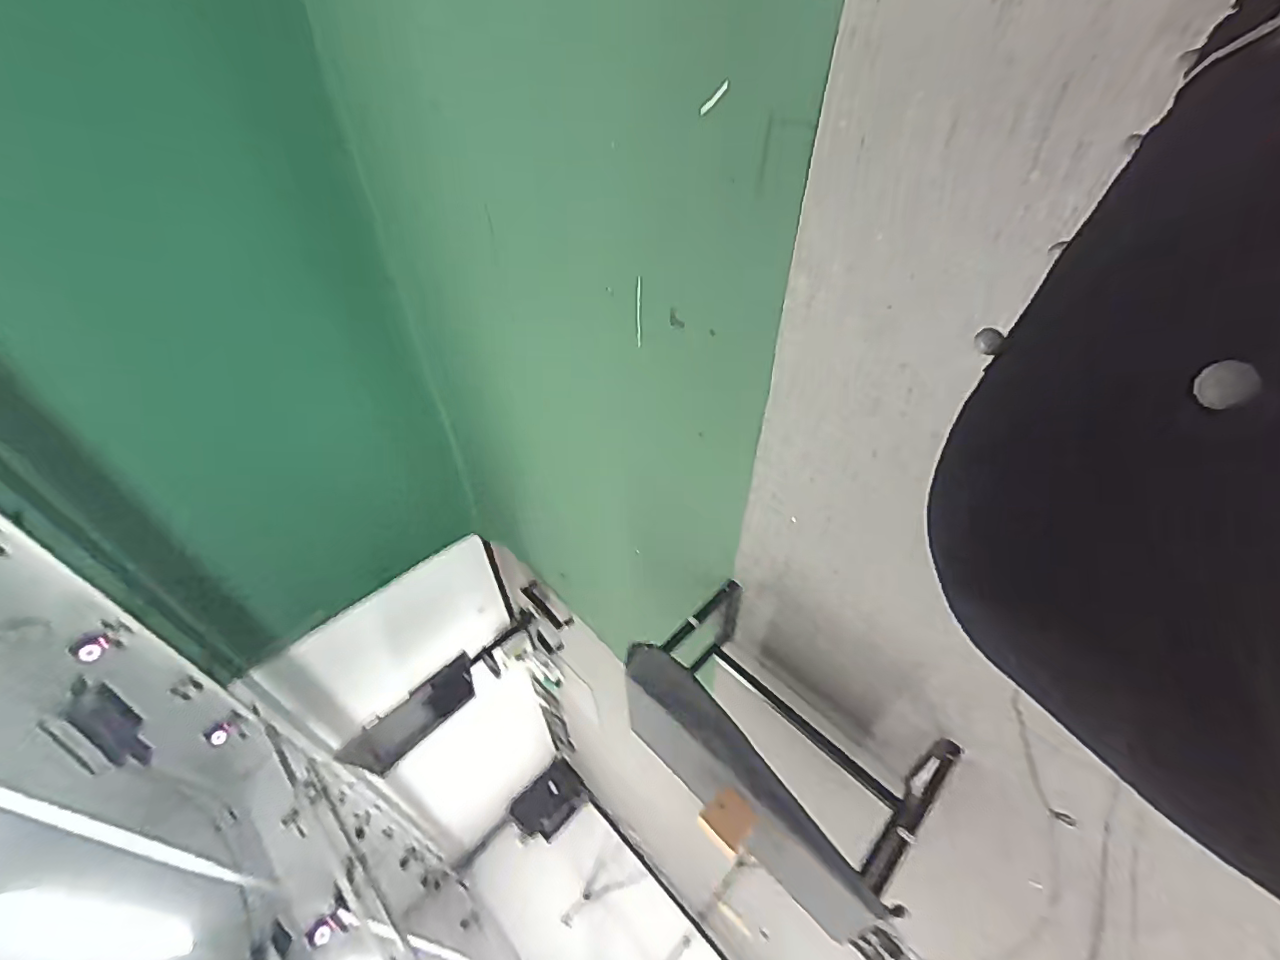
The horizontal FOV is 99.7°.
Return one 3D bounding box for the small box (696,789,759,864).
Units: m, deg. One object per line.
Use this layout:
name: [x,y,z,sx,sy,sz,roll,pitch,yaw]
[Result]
small box: [0.338,1.341,2.106,0.179,0.176,0.168,33,145,31]
